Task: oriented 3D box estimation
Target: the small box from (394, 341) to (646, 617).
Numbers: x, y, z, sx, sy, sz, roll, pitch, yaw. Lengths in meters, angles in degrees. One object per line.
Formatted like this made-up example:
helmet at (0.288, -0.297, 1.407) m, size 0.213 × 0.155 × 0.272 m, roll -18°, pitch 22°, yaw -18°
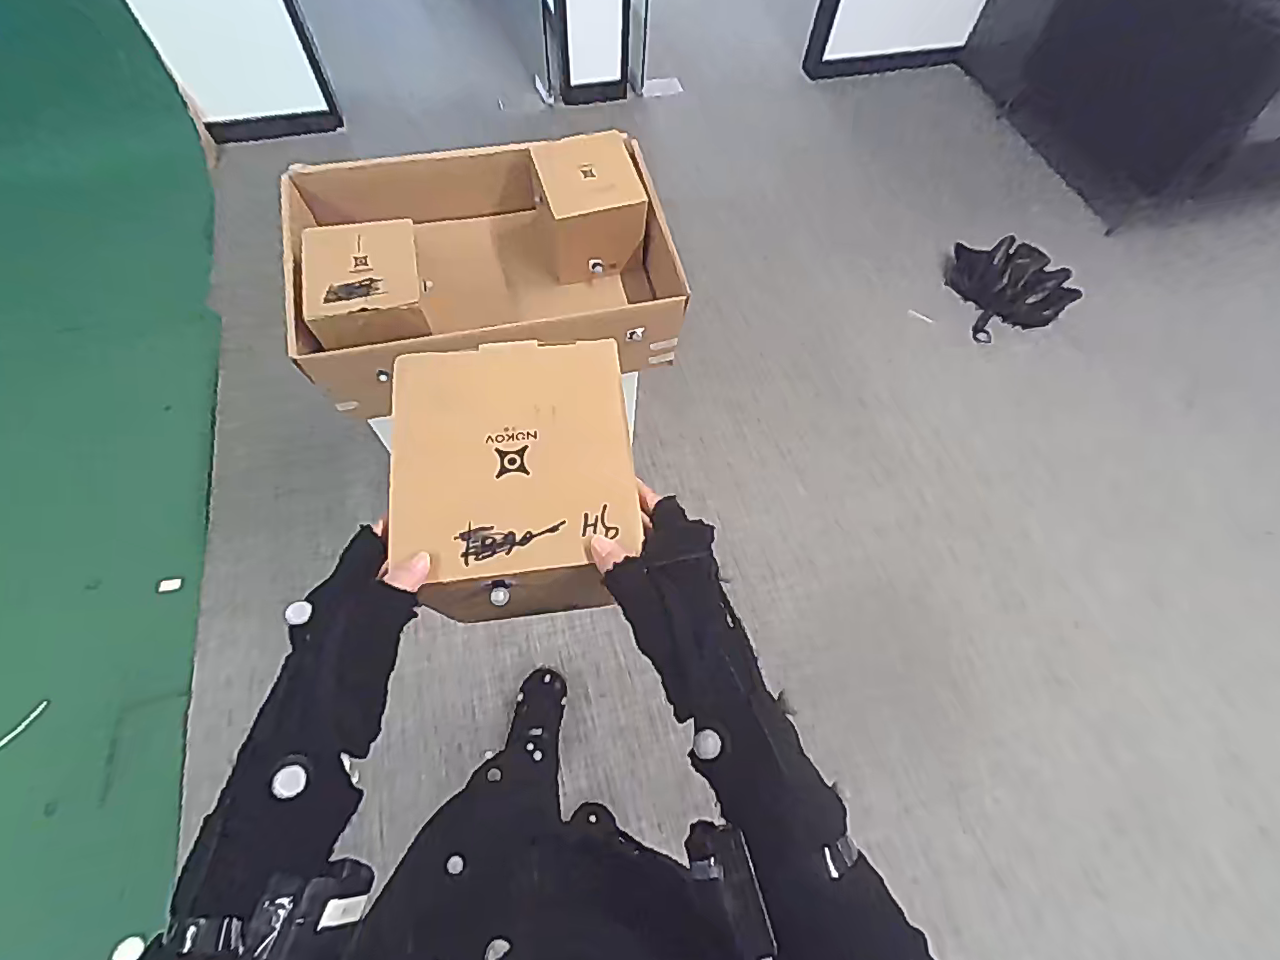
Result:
small box at (-0.090, 0.008, 0.458) m, size 0.168 × 0.176 × 0.179 m, roll -6°, pitch 68°, yaw -4°
